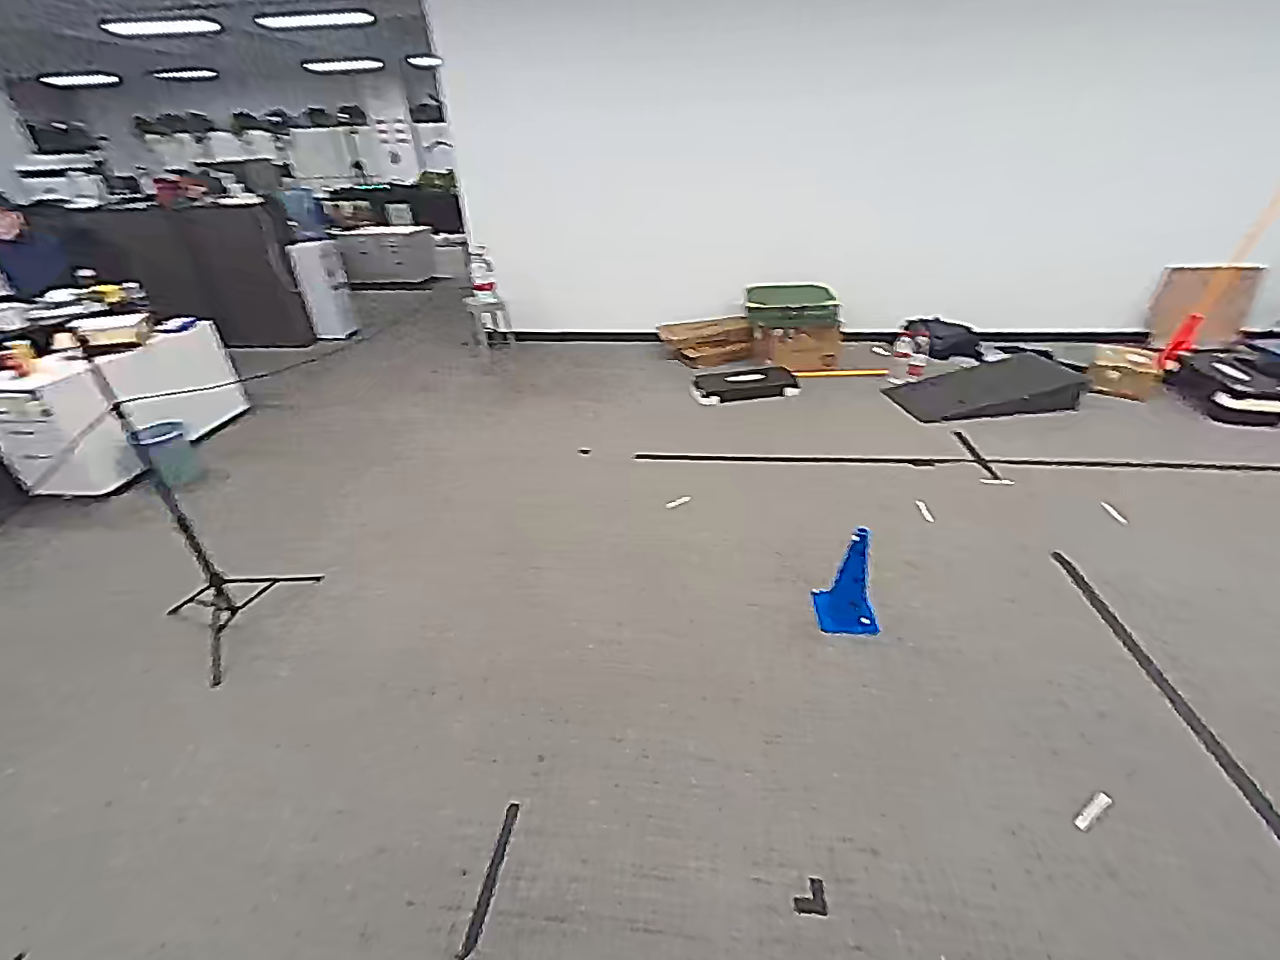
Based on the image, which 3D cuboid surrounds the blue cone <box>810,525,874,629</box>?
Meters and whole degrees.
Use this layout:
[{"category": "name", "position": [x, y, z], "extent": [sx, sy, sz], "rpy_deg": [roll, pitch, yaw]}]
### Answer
[{"category": "blue cone", "position": [0.693, 0.307, 1.791], "extent": [0.192, 0.380, 0.193], "rpy_deg": [1, 32, 7]}]
